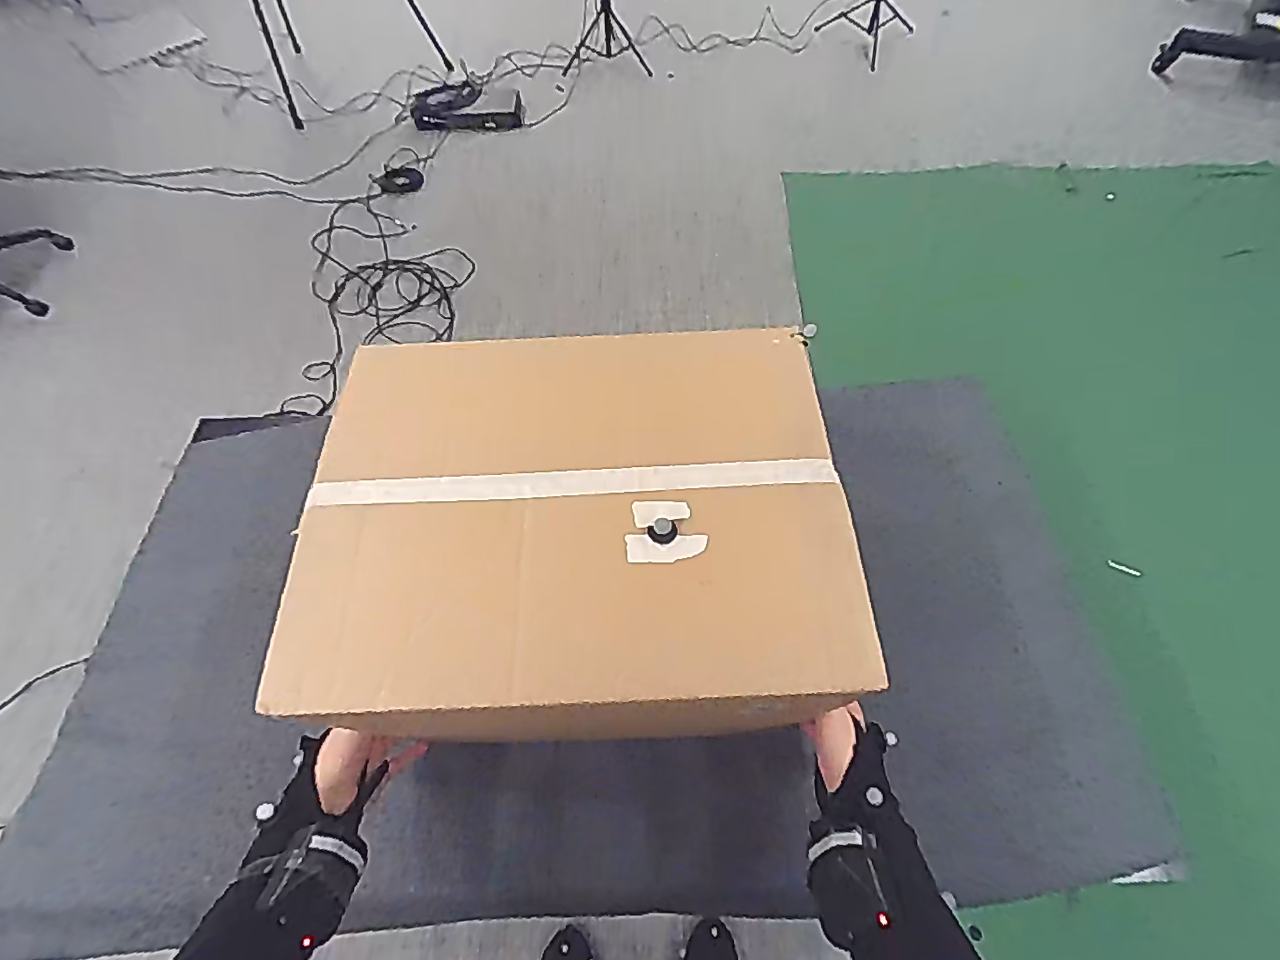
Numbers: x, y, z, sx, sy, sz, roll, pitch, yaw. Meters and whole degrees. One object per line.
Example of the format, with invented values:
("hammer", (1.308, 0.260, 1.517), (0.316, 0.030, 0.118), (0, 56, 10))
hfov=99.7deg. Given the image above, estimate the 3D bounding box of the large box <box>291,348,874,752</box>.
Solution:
("large box", (-0.043, 0.092, 0.564), (0.408, 0.320, 0.320), (-3, 61, 0))
